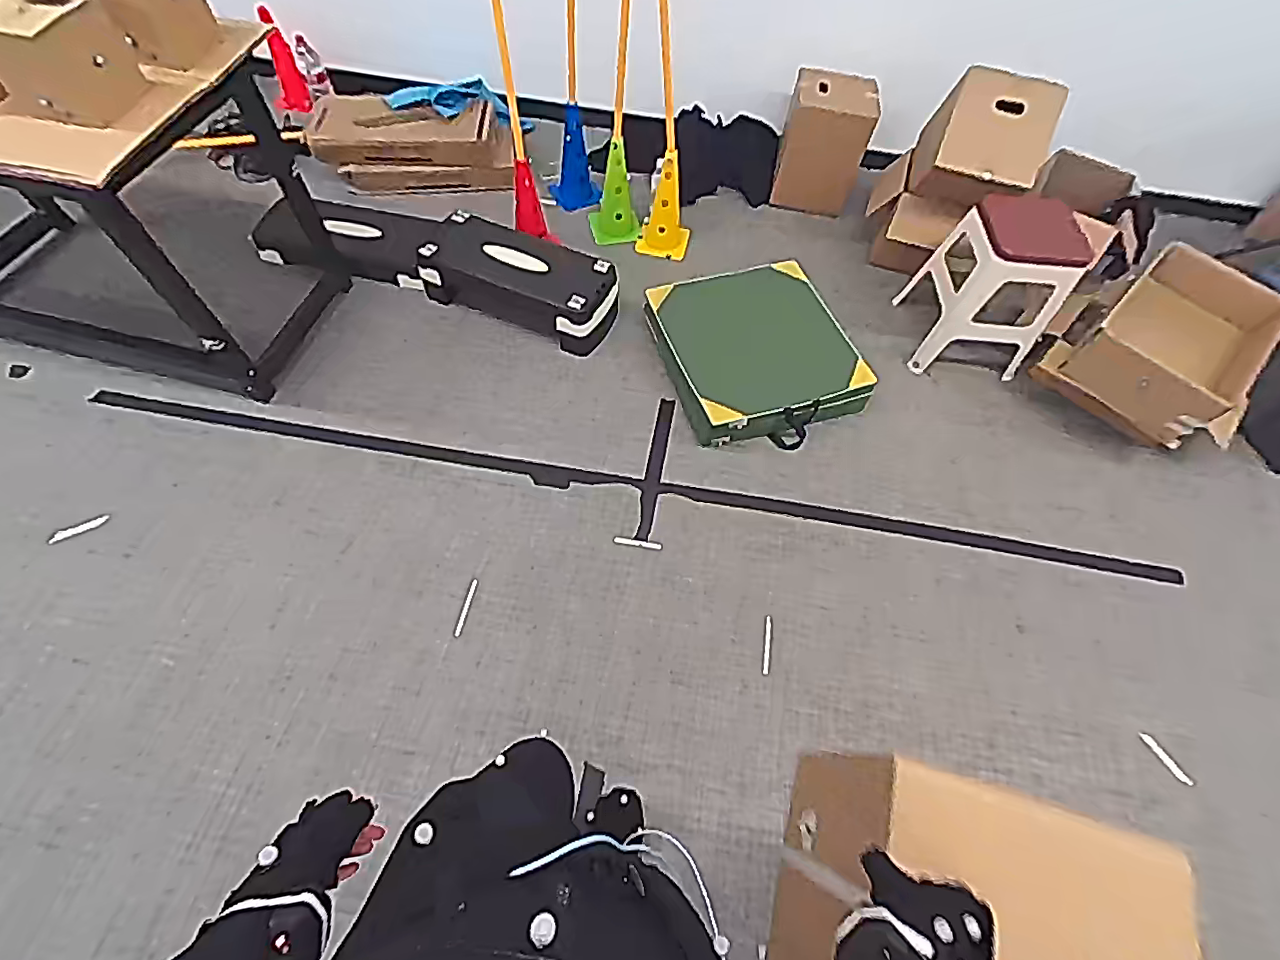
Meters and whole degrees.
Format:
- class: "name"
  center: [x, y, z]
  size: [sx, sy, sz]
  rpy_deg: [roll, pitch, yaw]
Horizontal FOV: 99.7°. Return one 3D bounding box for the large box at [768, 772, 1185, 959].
- class: "large box"
  center: [0.385, 0.604, 0.702]
  size: [0.320, 0.408, 0.320]
  rpy_deg: [19, 63, 11]
